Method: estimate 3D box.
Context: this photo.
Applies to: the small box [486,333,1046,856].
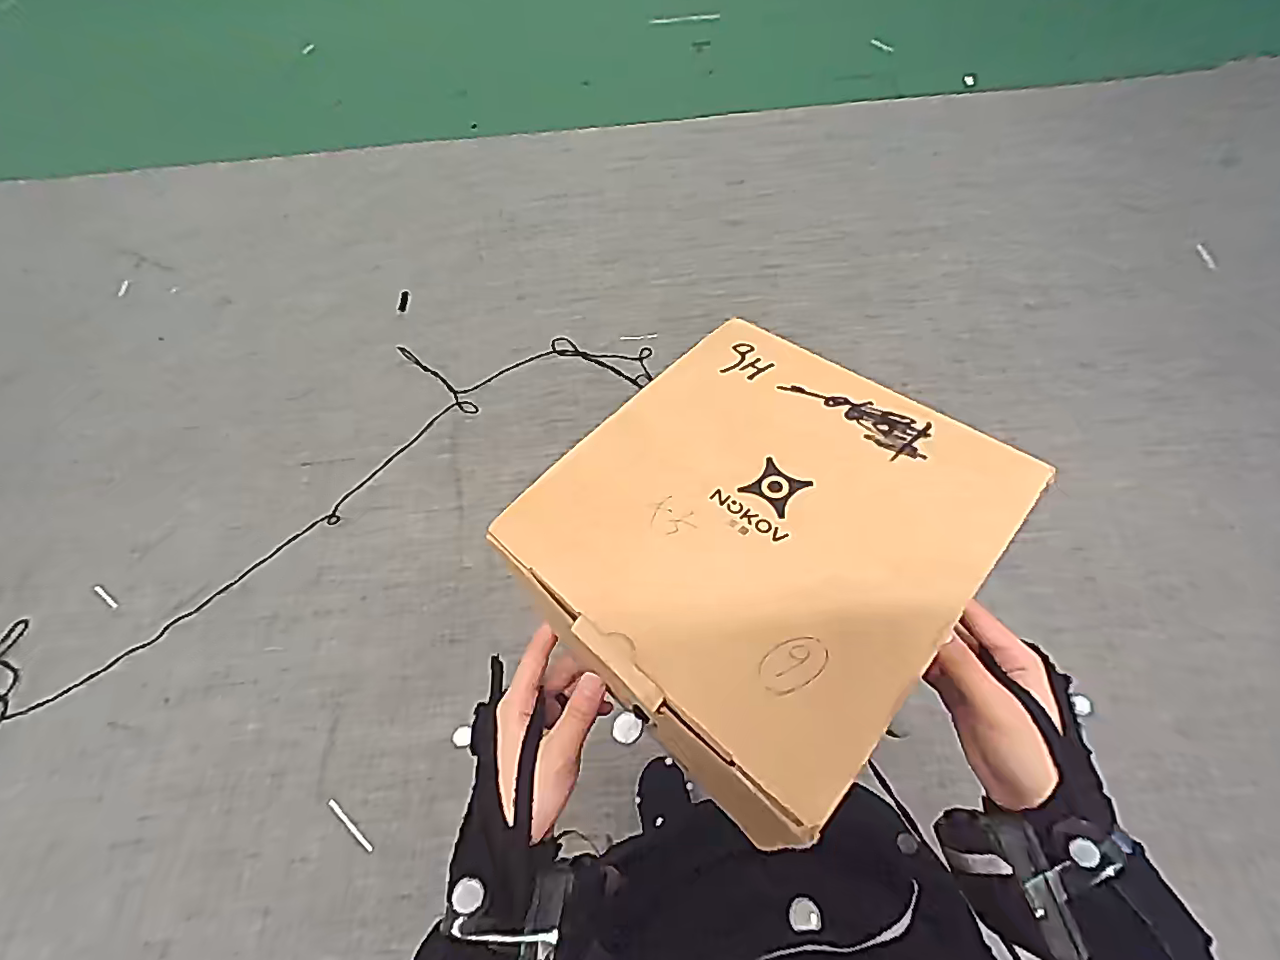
[{"bbox_3d":[0.058,0.062,0.289,0.168,0.176,0.179,36,67,28],"label":"small box"}]
